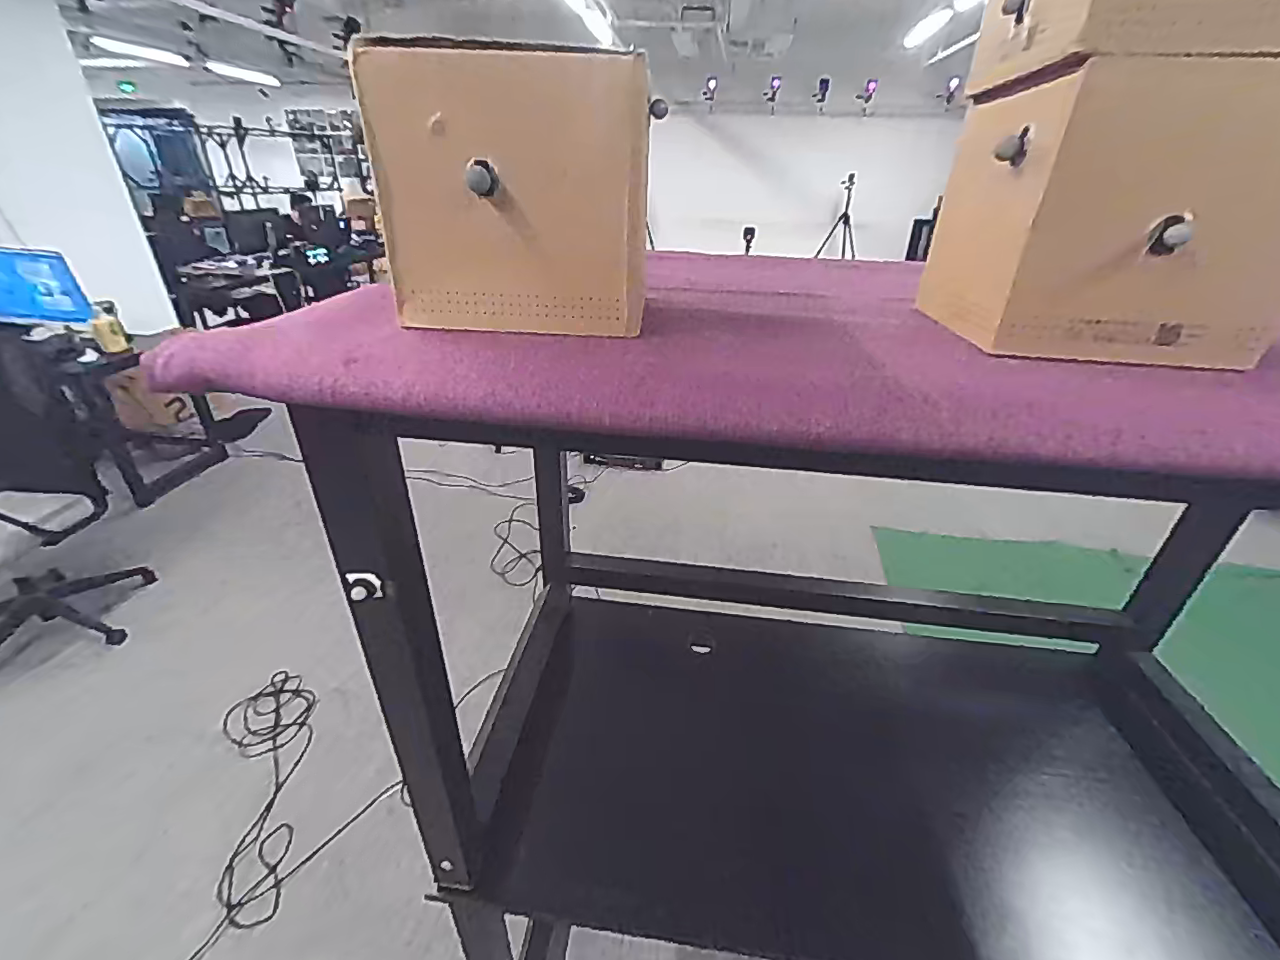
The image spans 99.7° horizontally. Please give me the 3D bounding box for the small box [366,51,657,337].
[{"bbox_3d":[-0.077,-0.217,0.428,0.179,0.176,0.168,2,31,1],"label":"small box"}]

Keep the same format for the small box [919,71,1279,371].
[{"bbox_3d":[0.338,-0.189,0.406,0.168,0.176,0.179,6,29,6],"label":"small box"}]
